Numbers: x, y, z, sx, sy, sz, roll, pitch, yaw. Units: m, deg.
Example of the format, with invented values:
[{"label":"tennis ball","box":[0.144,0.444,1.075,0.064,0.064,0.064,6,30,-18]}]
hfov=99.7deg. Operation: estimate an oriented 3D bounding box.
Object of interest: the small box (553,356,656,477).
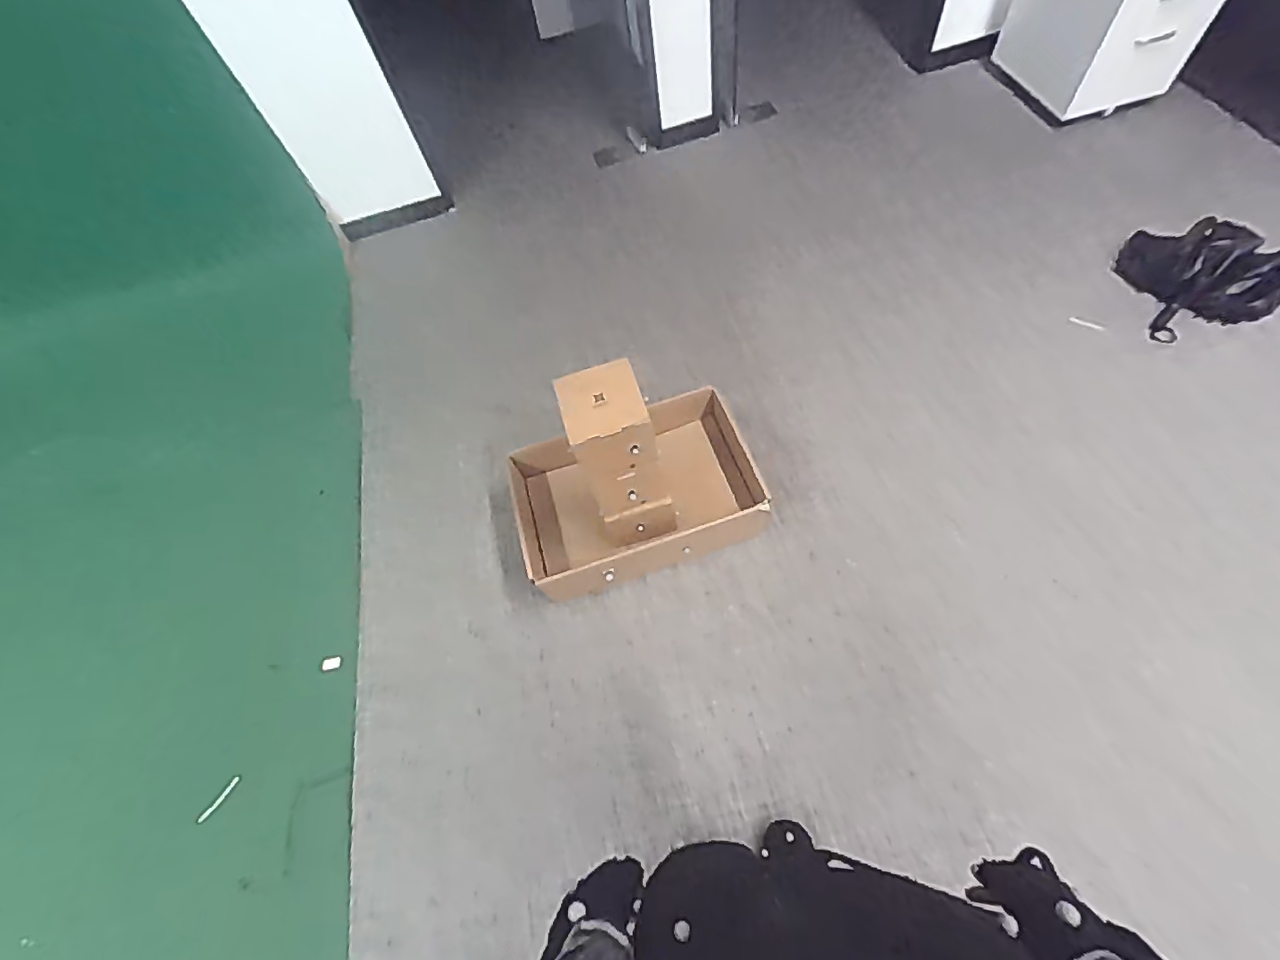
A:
[{"label":"small box","box":[-0.071,-0.125,1.151,0.168,0.176,0.179,-18,59,-2]}]

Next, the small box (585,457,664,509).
[{"label":"small box","box":[-0.048,-0.048,1.294,0.168,0.176,0.179,-18,61,-1]}]

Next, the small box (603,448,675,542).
[{"label":"small box","box":[-0.012,0.042,1.425,0.179,0.176,0.168,-19,60,-2]}]
